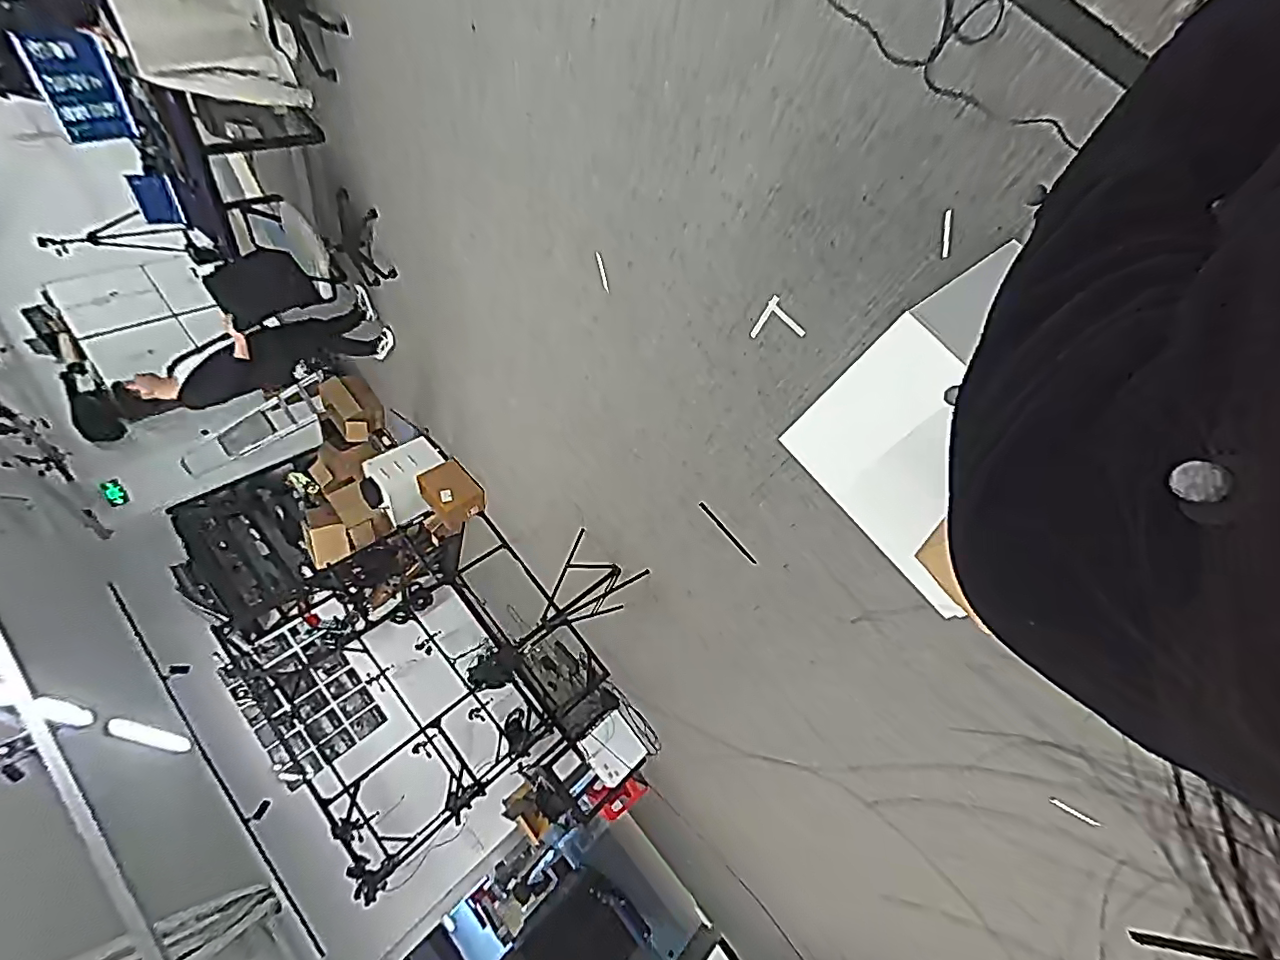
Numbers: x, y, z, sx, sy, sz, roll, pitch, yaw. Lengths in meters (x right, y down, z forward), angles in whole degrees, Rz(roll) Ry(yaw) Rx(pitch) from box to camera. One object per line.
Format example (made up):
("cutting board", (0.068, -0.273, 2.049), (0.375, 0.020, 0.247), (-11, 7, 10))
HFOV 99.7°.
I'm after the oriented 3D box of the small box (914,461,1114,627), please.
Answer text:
("small box", (0.589, 0.101, 0.858), (0.168, 0.176, 0.179), (50, 148, 11))
